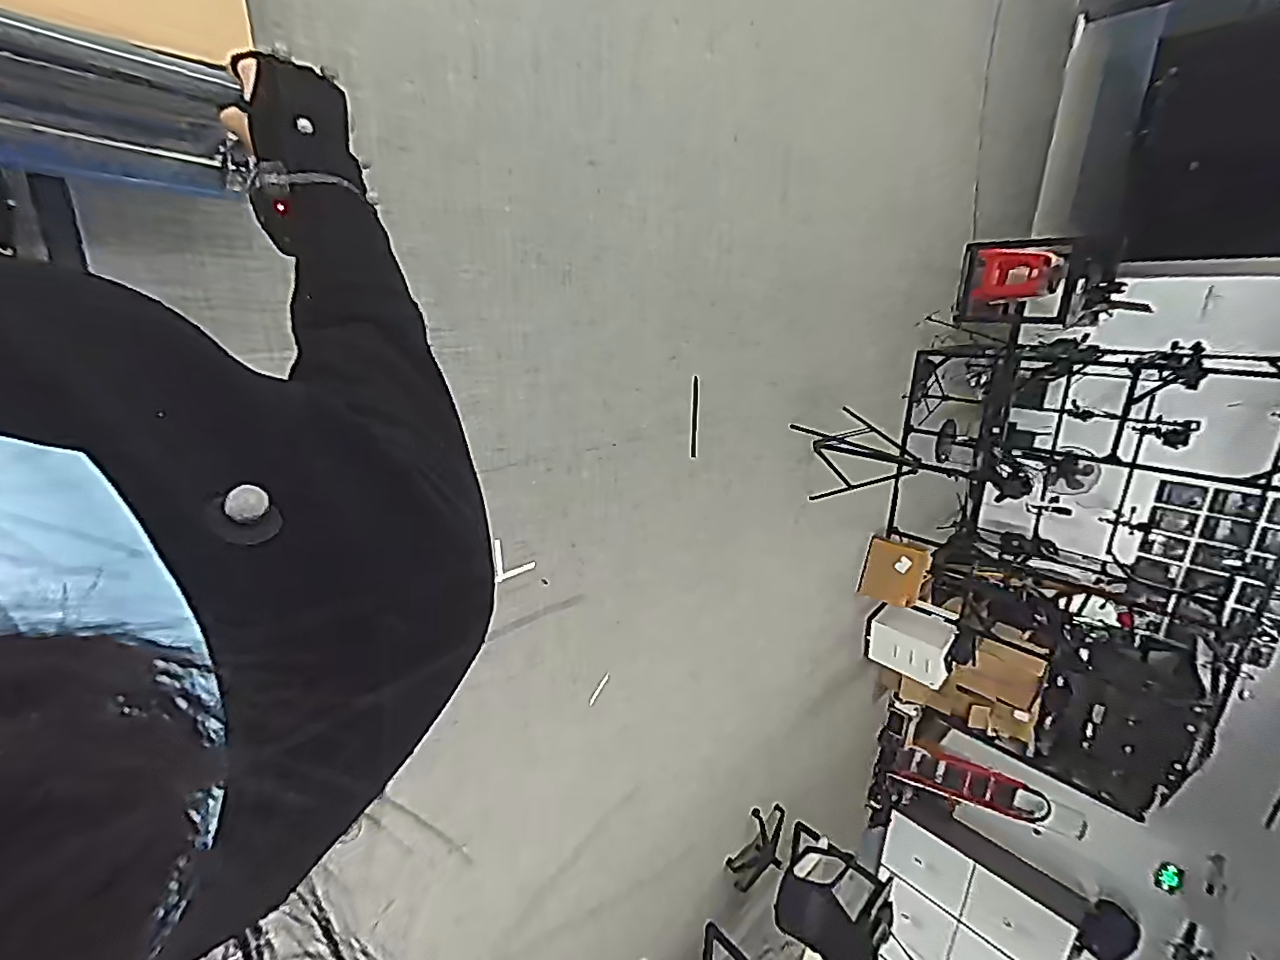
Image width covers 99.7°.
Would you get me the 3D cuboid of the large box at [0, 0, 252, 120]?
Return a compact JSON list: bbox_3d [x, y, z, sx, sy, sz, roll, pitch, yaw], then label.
[{"bbox_3d":[-0.810,-0.717,0.704,0.408,0.320,0.320,-18,116,-43],"label":"large box"}]
